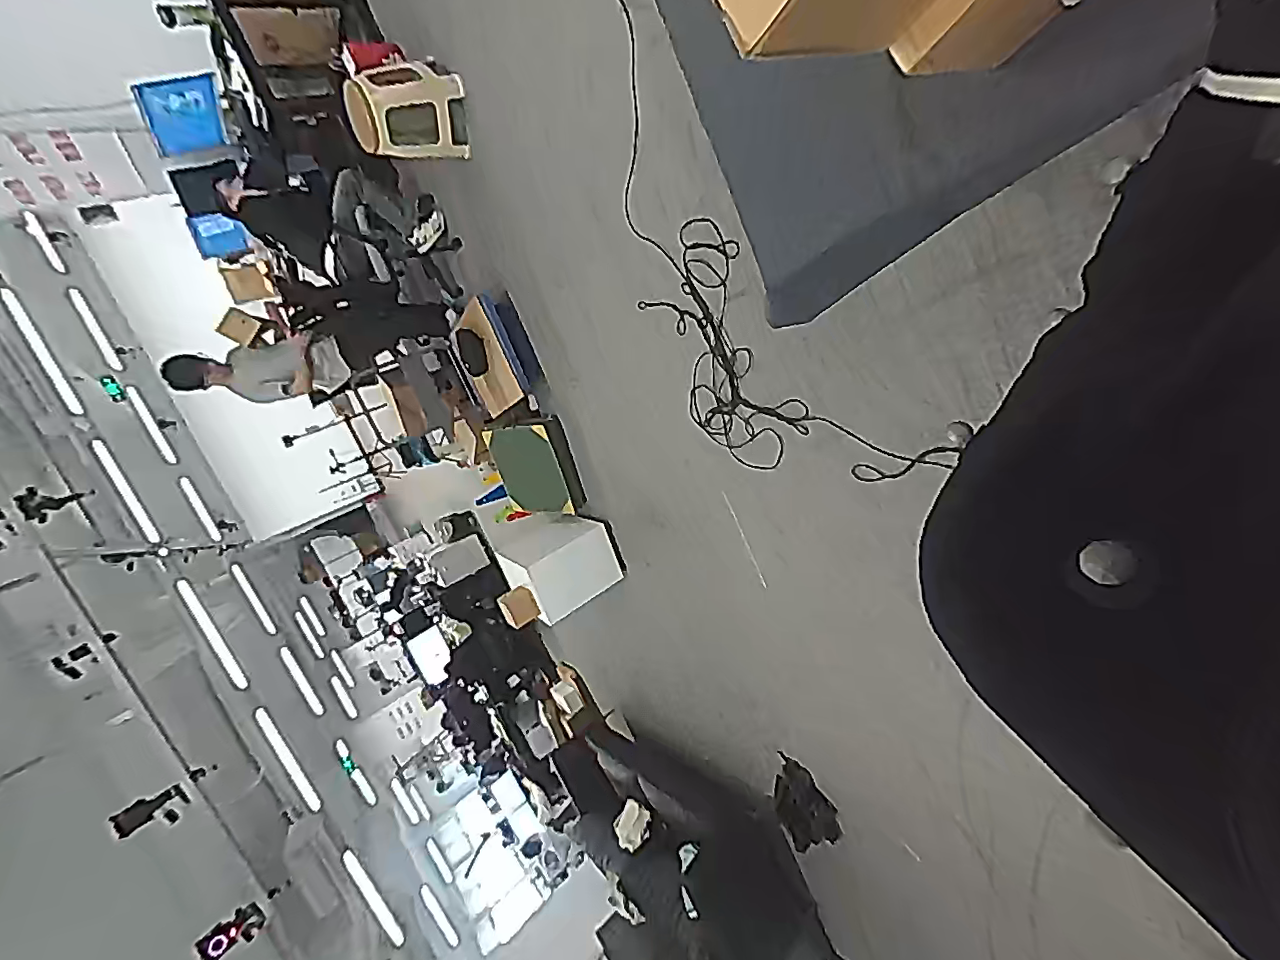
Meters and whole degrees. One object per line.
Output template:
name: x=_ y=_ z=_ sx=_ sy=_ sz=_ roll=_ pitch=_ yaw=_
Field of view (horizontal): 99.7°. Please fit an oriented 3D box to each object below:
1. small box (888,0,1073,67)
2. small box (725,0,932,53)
small box: x=0.263 y=-0.442 z=0.388 sx=0.179 sy=0.176 sz=0.168 roll=60 pitch=151 yaw=0
small box: x=0.135 y=-0.388 z=0.303 sx=0.168 sy=0.176 sz=0.179 roll=62 pitch=150 yaw=-4
